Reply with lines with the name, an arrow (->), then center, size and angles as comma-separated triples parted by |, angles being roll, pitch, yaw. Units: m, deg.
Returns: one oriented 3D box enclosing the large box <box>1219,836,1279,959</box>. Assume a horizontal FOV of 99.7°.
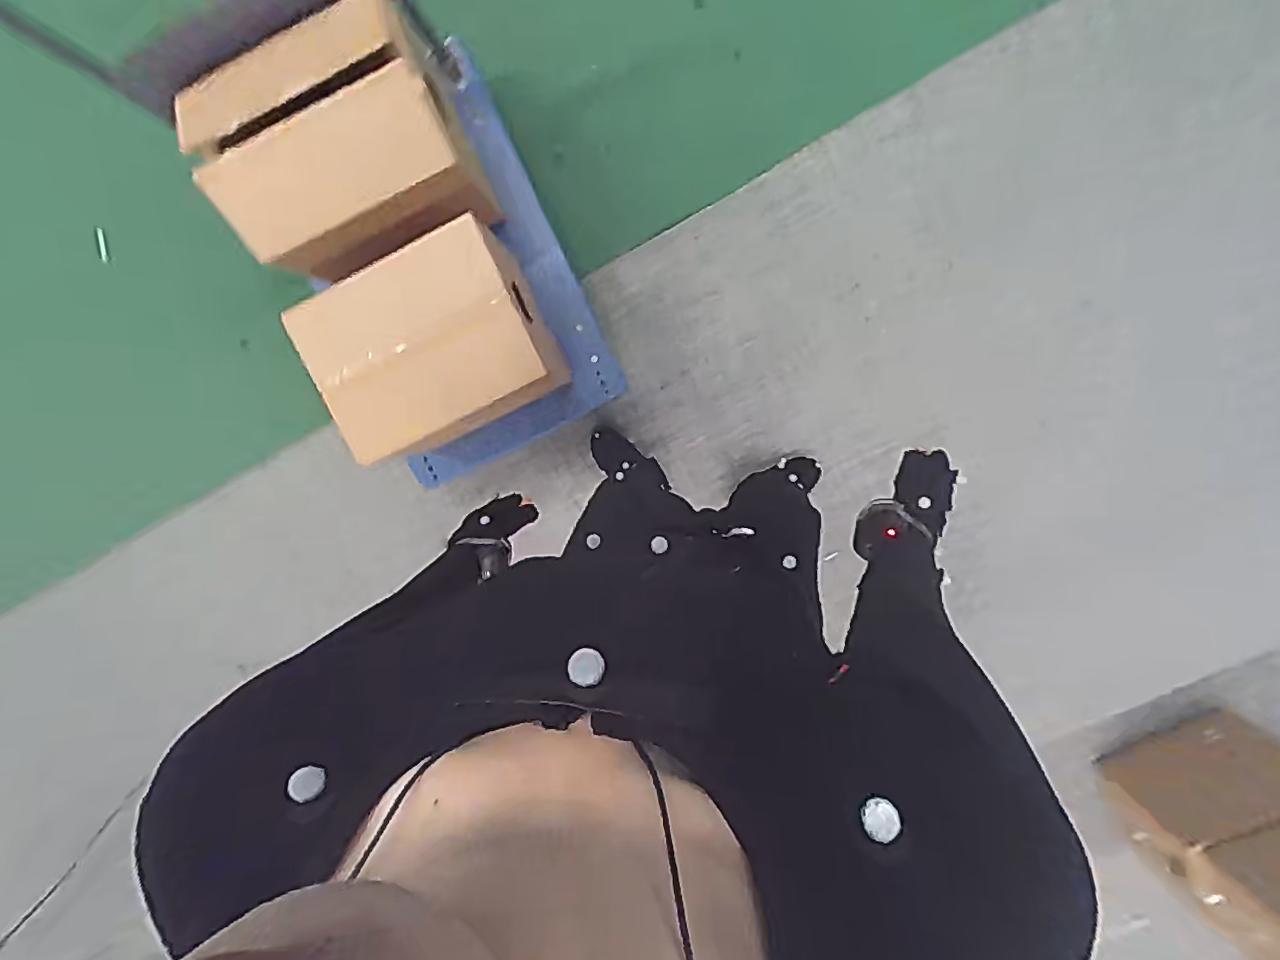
large box -> 1.585, 0.942, 1.106 | 0.408, 0.320, 0.320 | -28, 92, 6
